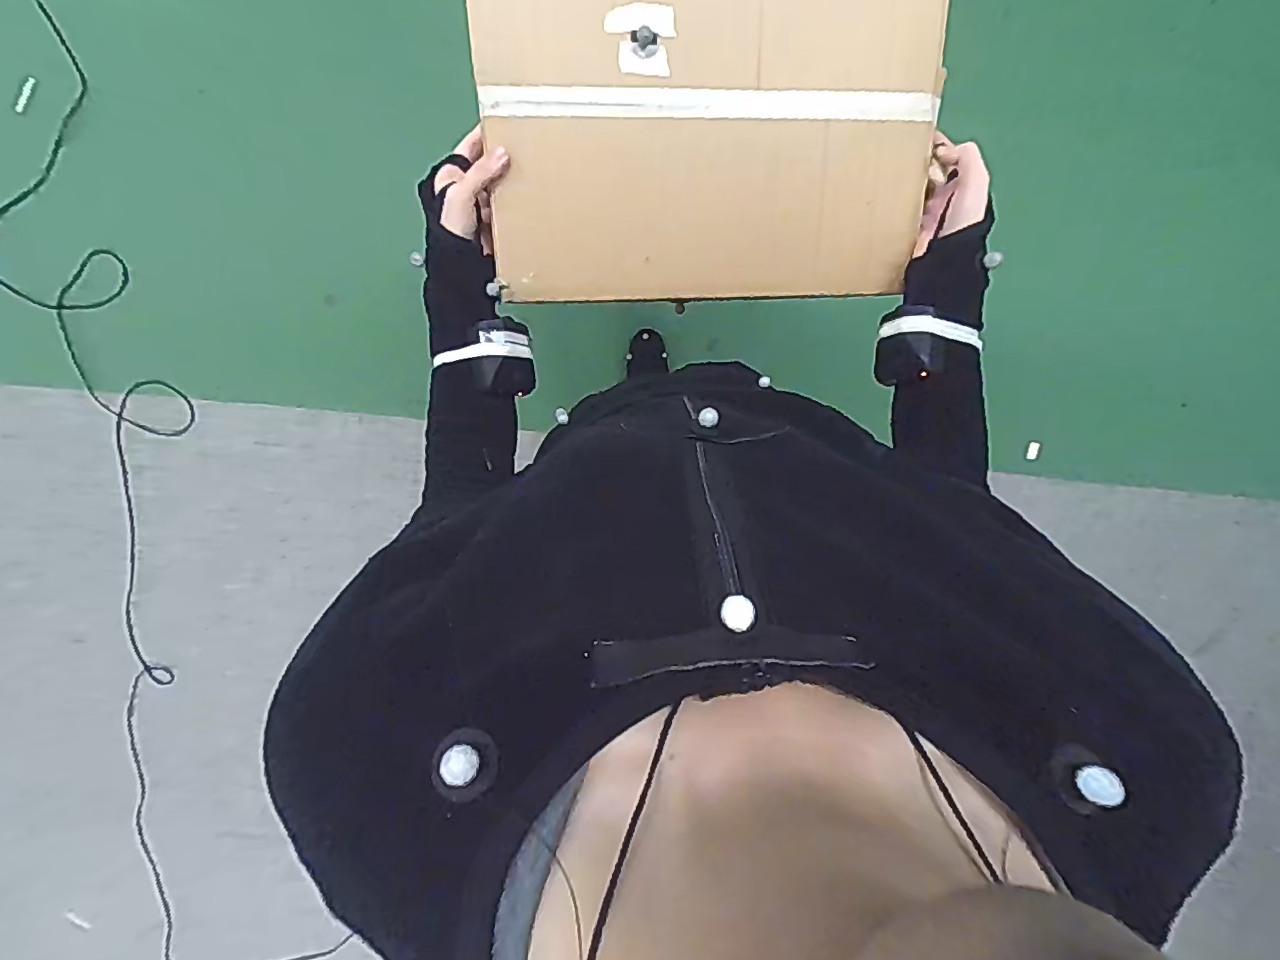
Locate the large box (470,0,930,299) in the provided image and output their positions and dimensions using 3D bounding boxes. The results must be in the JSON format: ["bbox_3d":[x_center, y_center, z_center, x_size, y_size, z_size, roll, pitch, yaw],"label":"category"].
[{"bbox_3d":[0.043,-0.381,0.623,0.408,0.320,0.320,-3,109,-6],"label":"large box"}]
